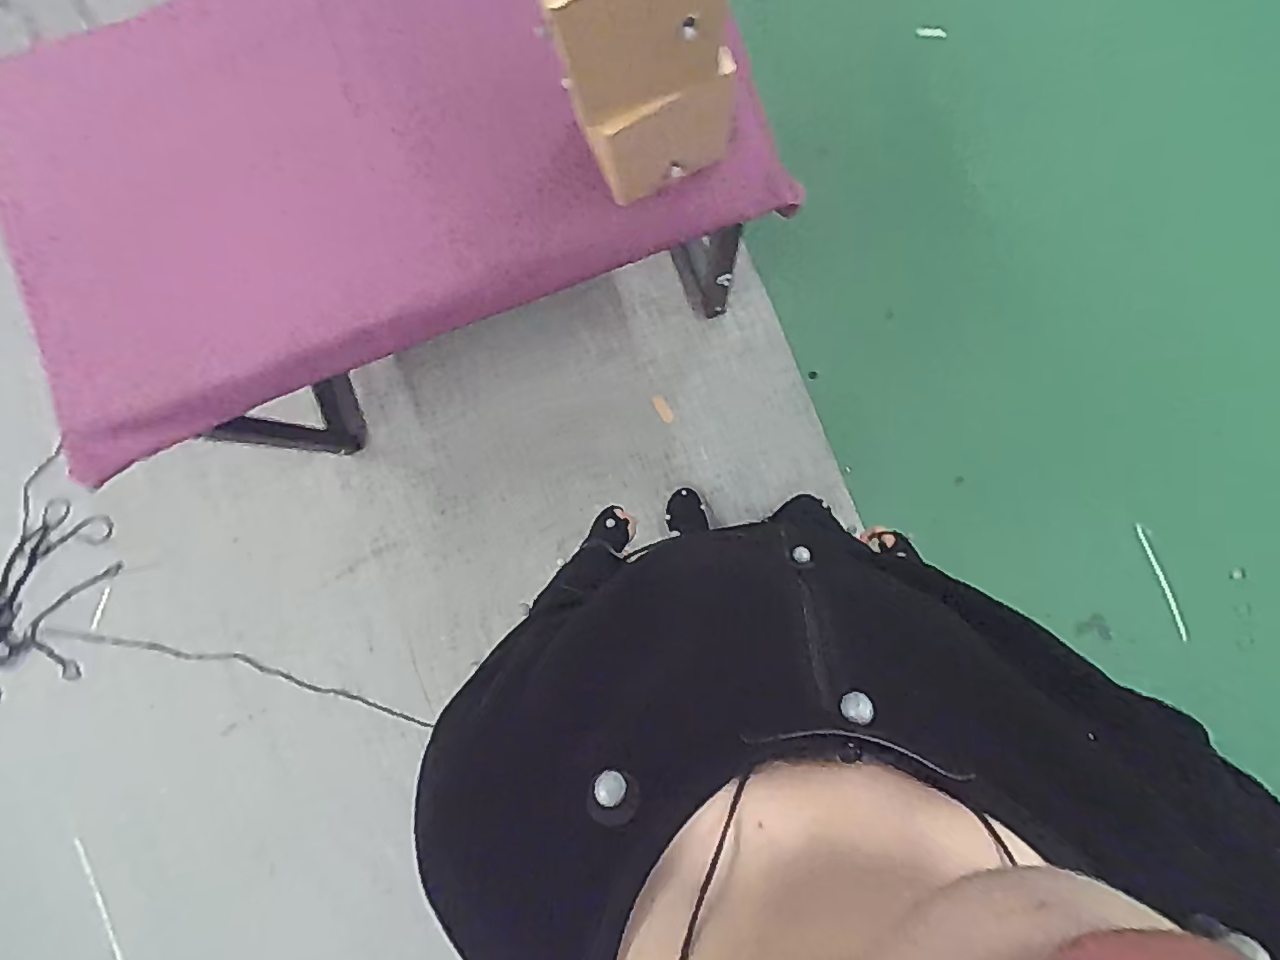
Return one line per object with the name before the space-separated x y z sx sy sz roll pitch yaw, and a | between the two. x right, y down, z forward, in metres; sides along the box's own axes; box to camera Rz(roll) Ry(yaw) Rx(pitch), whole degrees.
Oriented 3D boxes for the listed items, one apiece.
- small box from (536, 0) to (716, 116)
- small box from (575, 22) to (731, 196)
small box | -0.025 -0.530 0.559 0.179 0.176 0.168 -19 87 5
small box | 0.003 -0.524 0.720 0.179 0.176 0.168 -25 87 4
